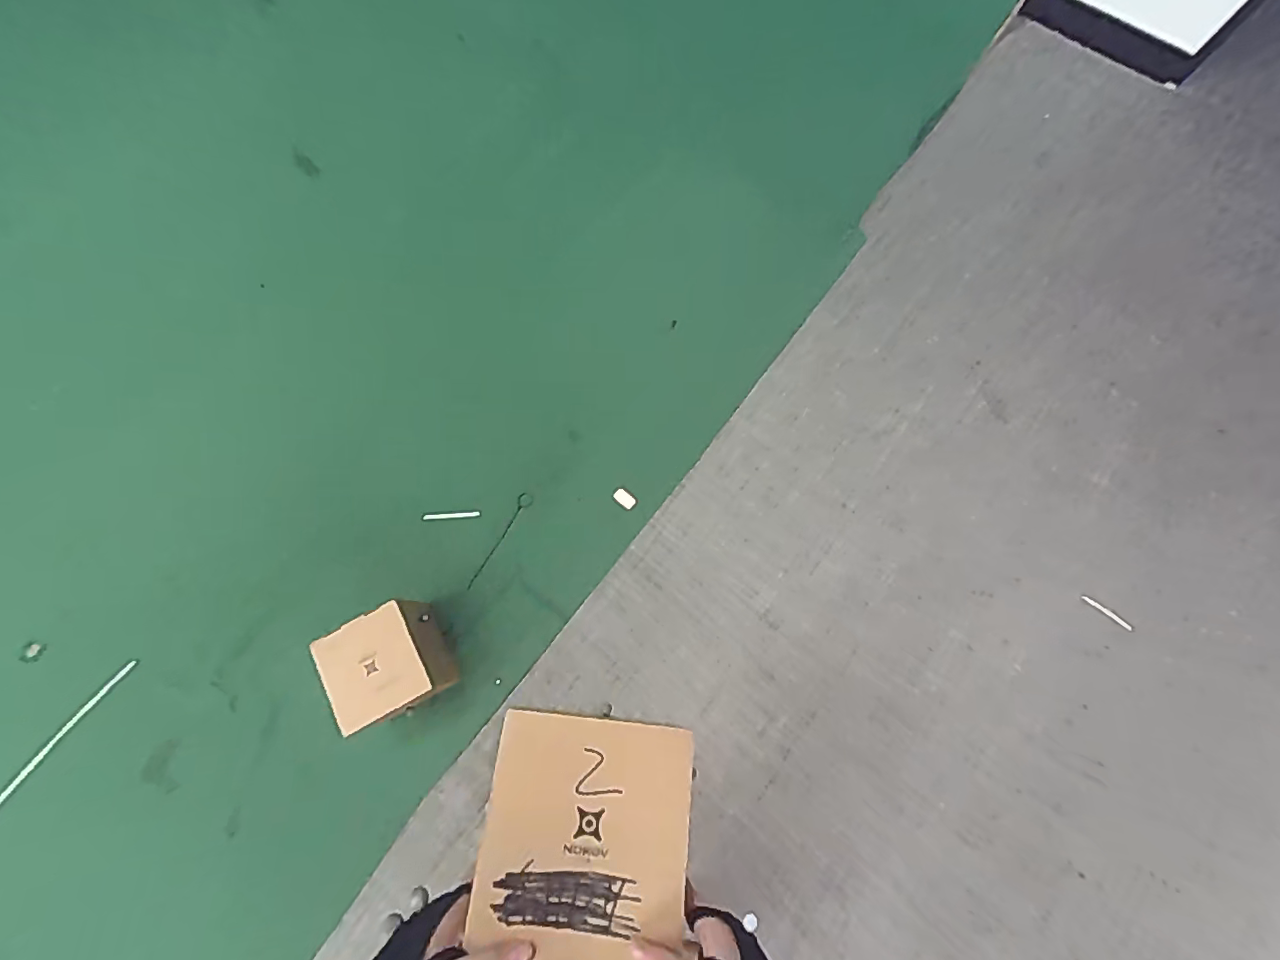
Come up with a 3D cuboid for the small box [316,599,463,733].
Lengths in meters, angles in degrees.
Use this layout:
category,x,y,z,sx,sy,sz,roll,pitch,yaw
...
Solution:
category,x,y,z,sx,sy,sz,roll,pitch,yaw
small box,-0.463,0.345,1.022,0.168,0.176,0.179,-28,76,-7
